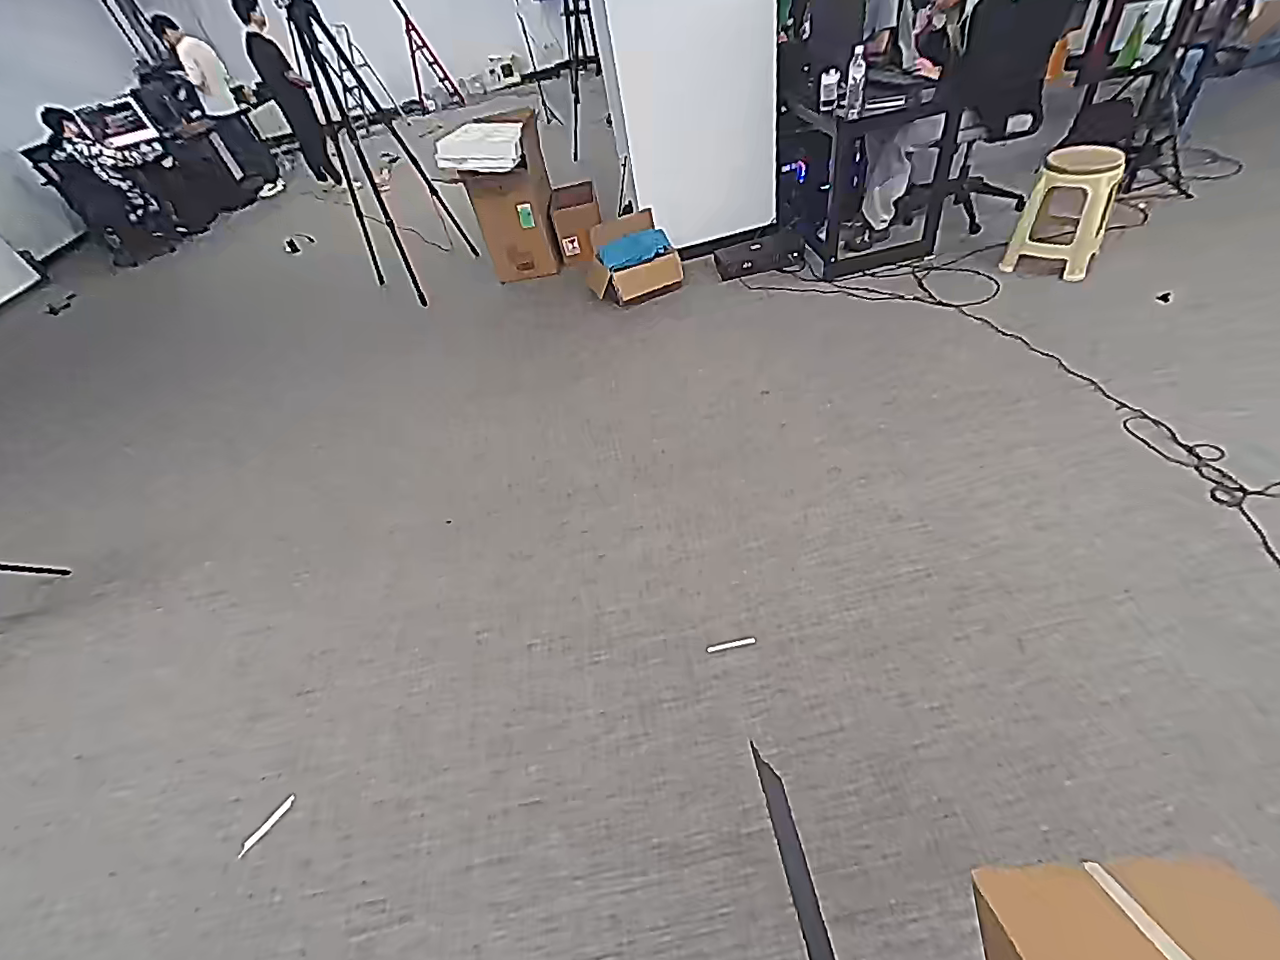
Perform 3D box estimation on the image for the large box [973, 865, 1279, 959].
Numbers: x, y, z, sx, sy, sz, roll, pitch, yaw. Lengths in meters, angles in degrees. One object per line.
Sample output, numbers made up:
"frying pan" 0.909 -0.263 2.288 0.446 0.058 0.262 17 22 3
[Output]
"large box" 0.609 0.683 0.544 0.320 0.408 0.320 -10 89 9
